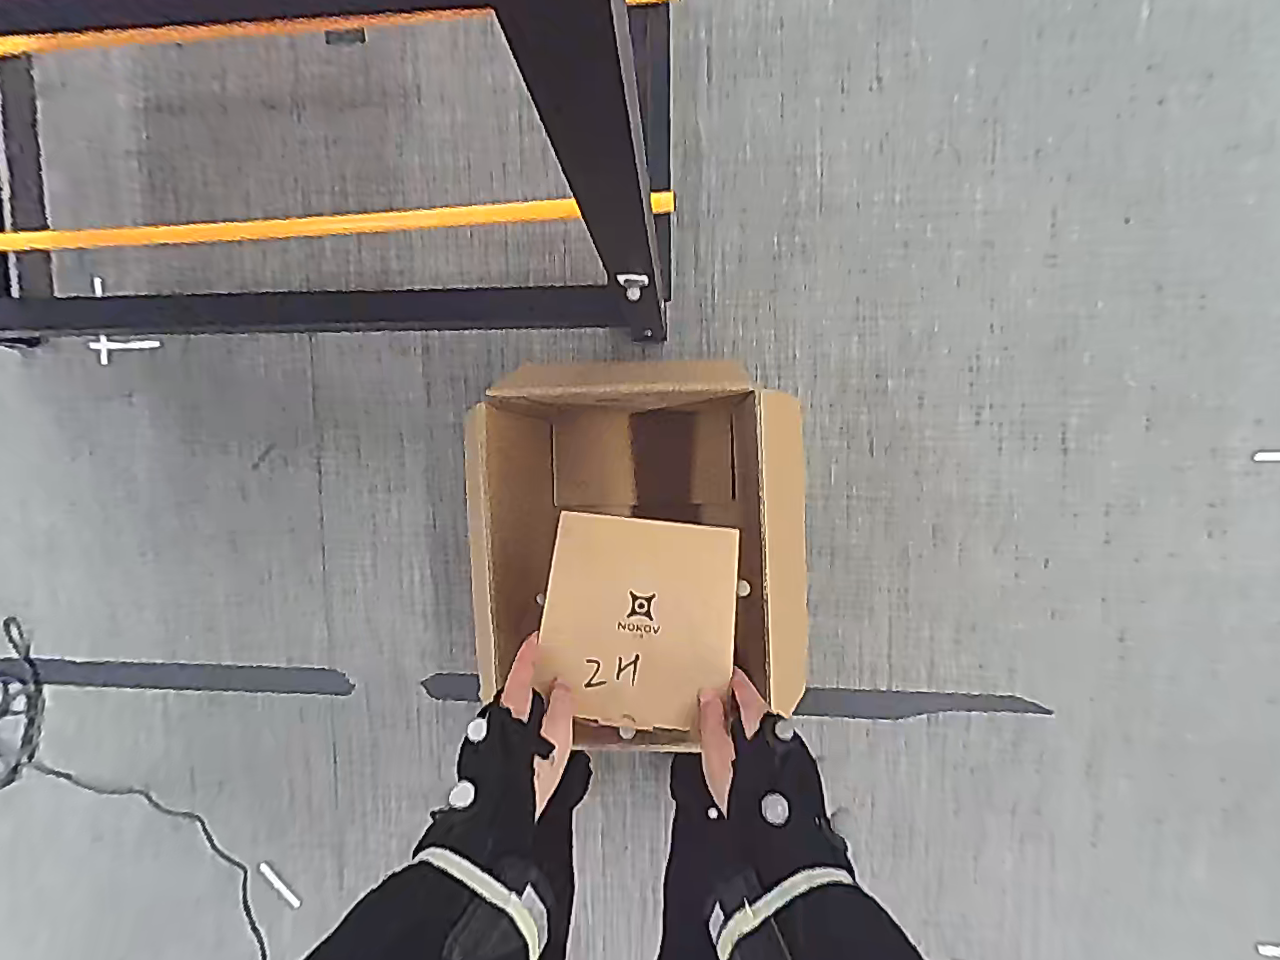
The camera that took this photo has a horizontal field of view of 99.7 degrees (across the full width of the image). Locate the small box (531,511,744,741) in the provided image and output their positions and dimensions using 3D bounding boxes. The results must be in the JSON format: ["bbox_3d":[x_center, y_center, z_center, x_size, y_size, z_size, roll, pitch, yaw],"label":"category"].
[{"bbox_3d":[0.002,0.147,0.535,0.168,0.176,0.179,7,68,3],"label":"small box"}]
